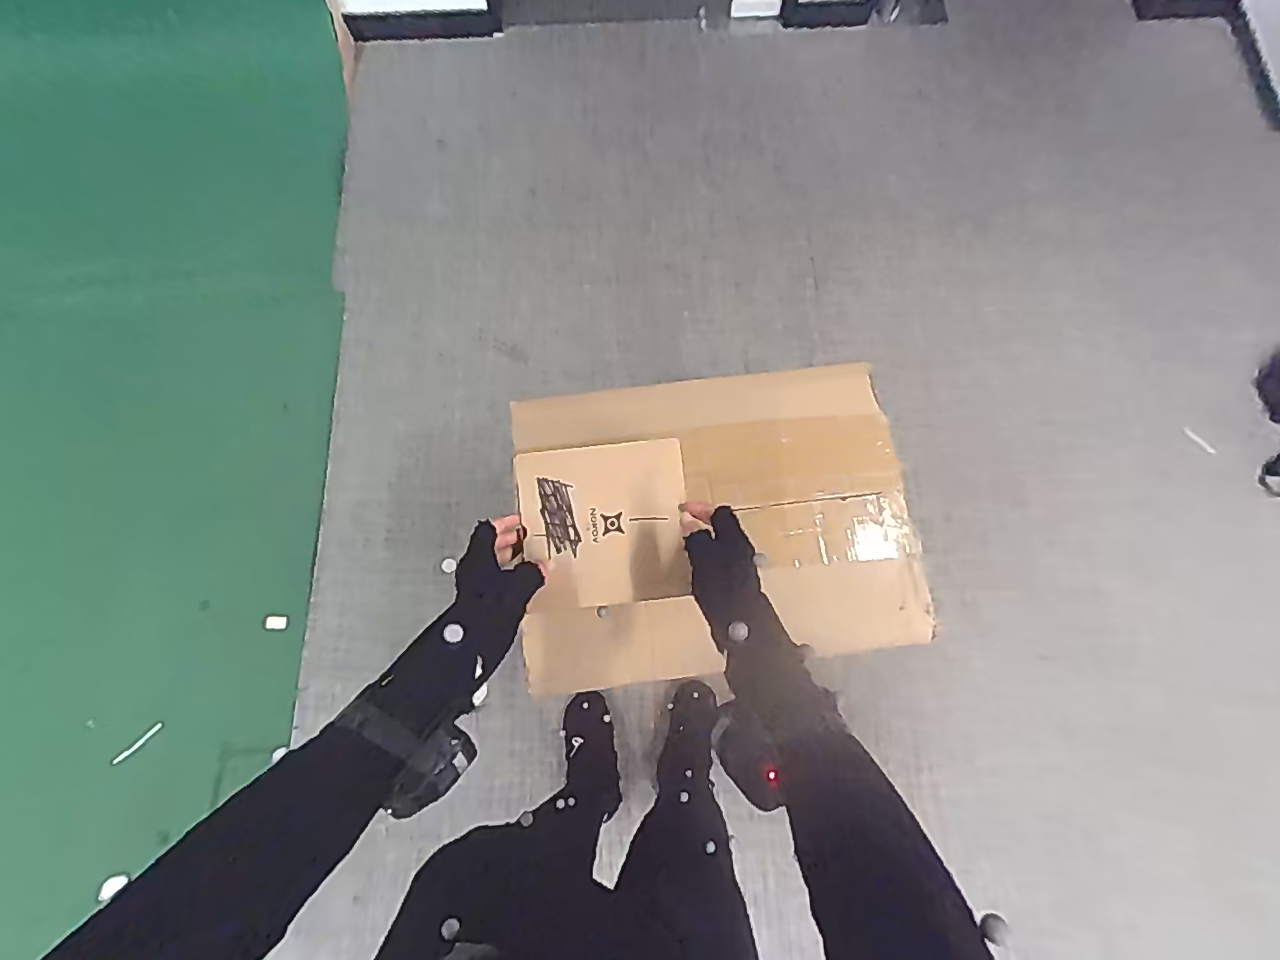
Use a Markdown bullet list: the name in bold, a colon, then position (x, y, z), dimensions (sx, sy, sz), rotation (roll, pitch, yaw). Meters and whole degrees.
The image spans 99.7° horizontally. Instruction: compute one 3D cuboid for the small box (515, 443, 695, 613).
- **small box**: position (-0.038, 0.062, 0.633), dimensions (0.179, 0.176, 0.168), rotation (-6, 80, -3)
